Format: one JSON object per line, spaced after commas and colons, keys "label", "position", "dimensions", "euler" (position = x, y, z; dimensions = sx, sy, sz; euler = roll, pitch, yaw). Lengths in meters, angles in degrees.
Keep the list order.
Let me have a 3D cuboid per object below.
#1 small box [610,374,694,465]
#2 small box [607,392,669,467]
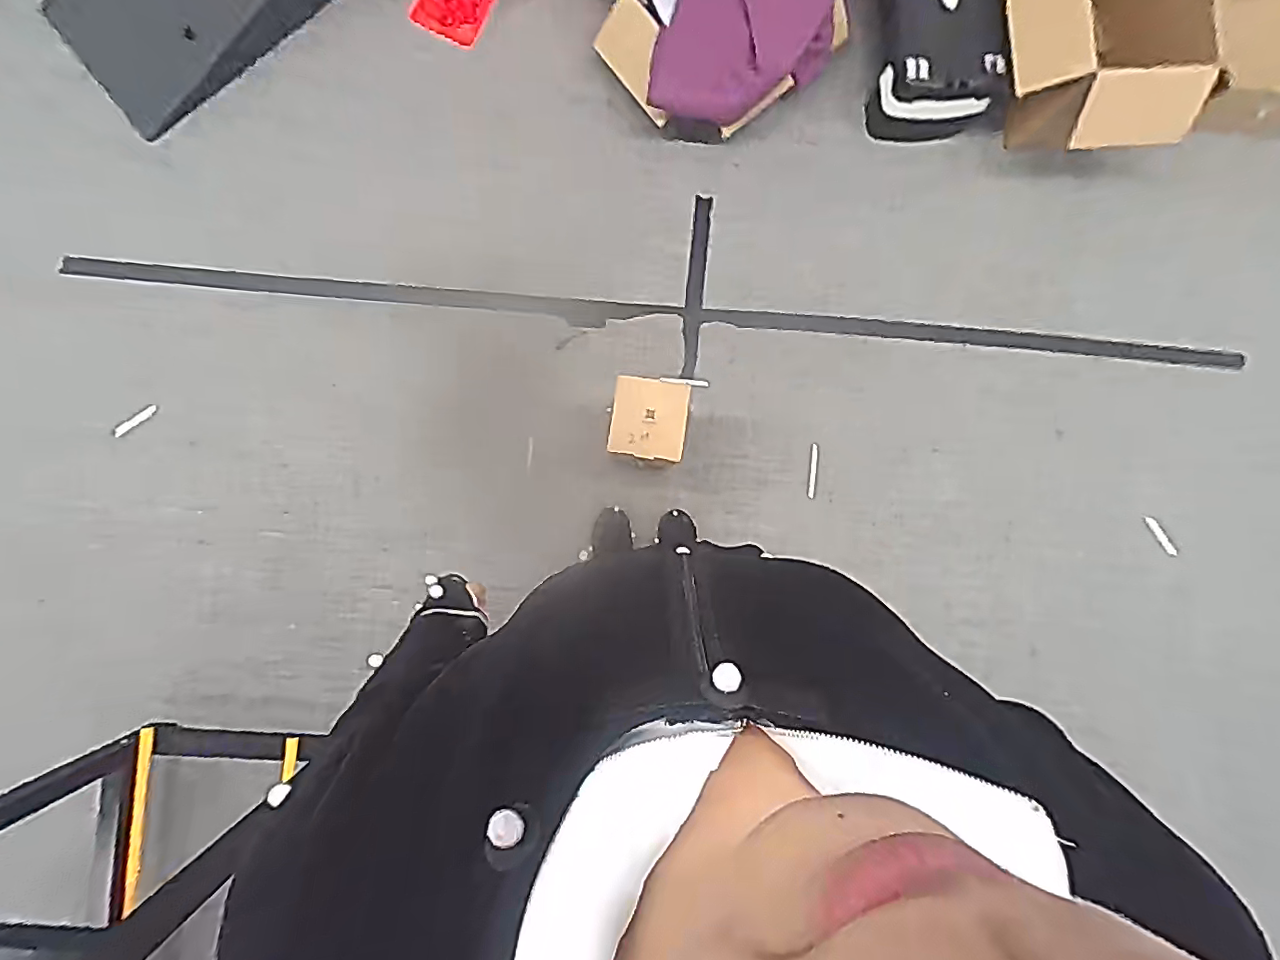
{"label": "small box", "position": [0.024, -0.135, 1.270], "dimensions": [0.168, 0.176, 0.179], "euler": [8, 89, -1]}
{"label": "small box", "position": [0.013, -0.128, 1.435], "dimensions": [0.179, 0.176, 0.168], "euler": [9, 89, -1]}
